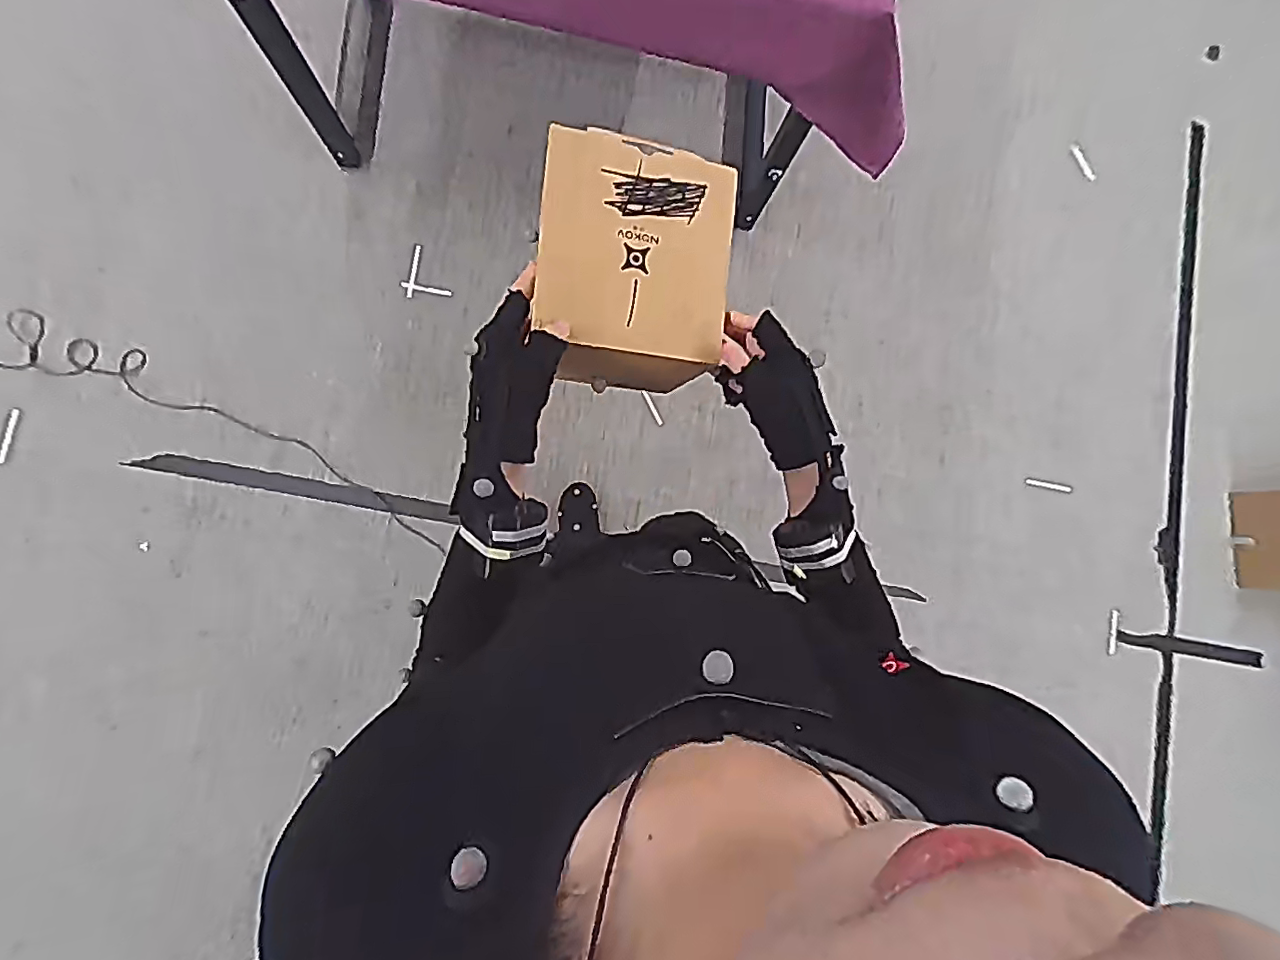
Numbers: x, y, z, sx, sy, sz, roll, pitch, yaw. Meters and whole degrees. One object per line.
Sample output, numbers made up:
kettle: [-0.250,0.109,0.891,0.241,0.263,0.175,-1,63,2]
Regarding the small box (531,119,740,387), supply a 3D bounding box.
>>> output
small box: [-0.016,-0.199,0.529,0.168,0.176,0.179,5,90,-13]
